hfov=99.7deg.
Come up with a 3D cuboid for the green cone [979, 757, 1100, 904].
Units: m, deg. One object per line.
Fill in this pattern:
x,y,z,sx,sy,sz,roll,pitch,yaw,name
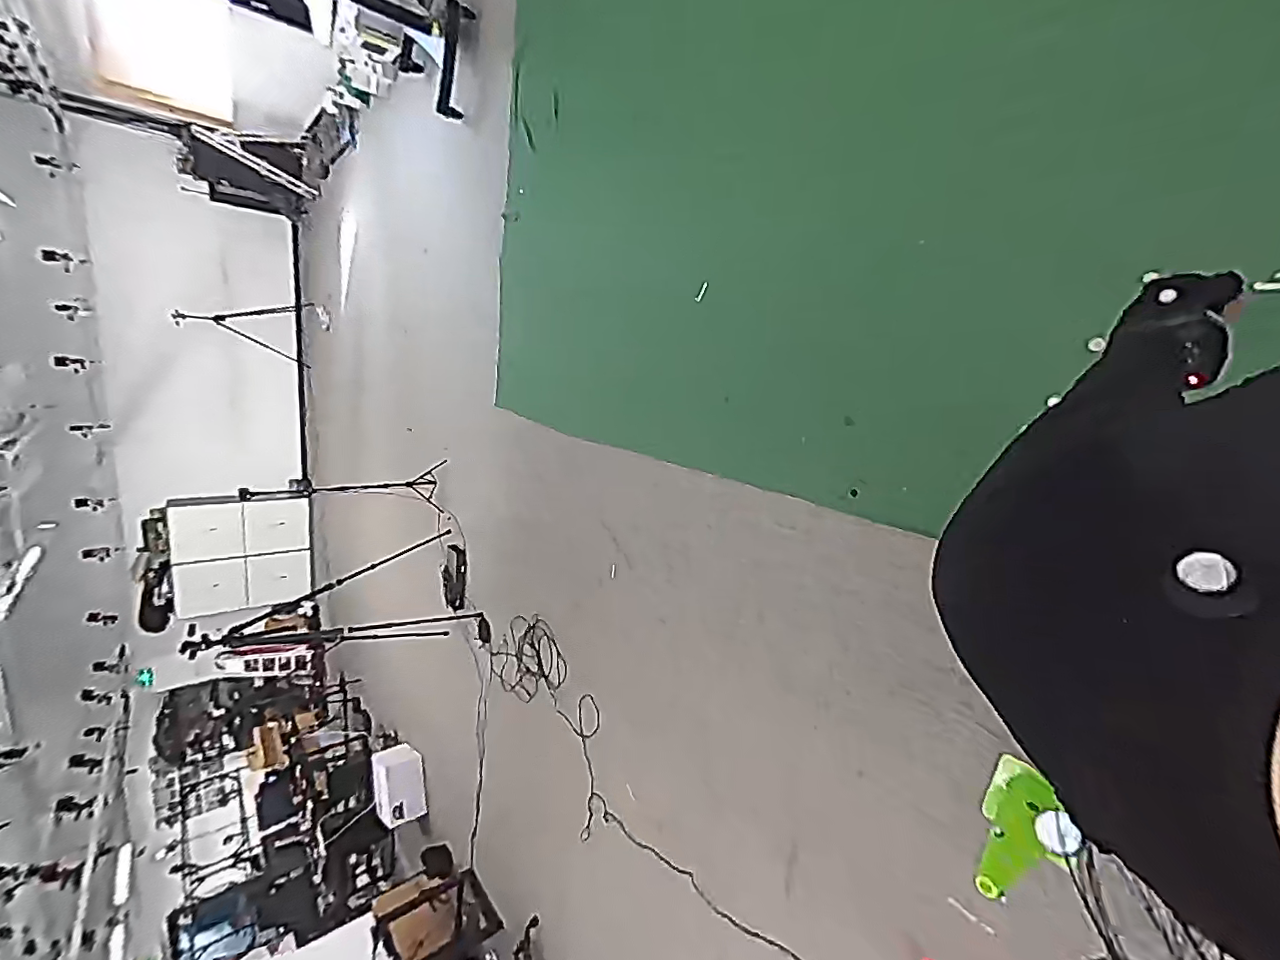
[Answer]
0.854,0.830,1.224,0.200,0.368,0.202,23,112,47,green cone
